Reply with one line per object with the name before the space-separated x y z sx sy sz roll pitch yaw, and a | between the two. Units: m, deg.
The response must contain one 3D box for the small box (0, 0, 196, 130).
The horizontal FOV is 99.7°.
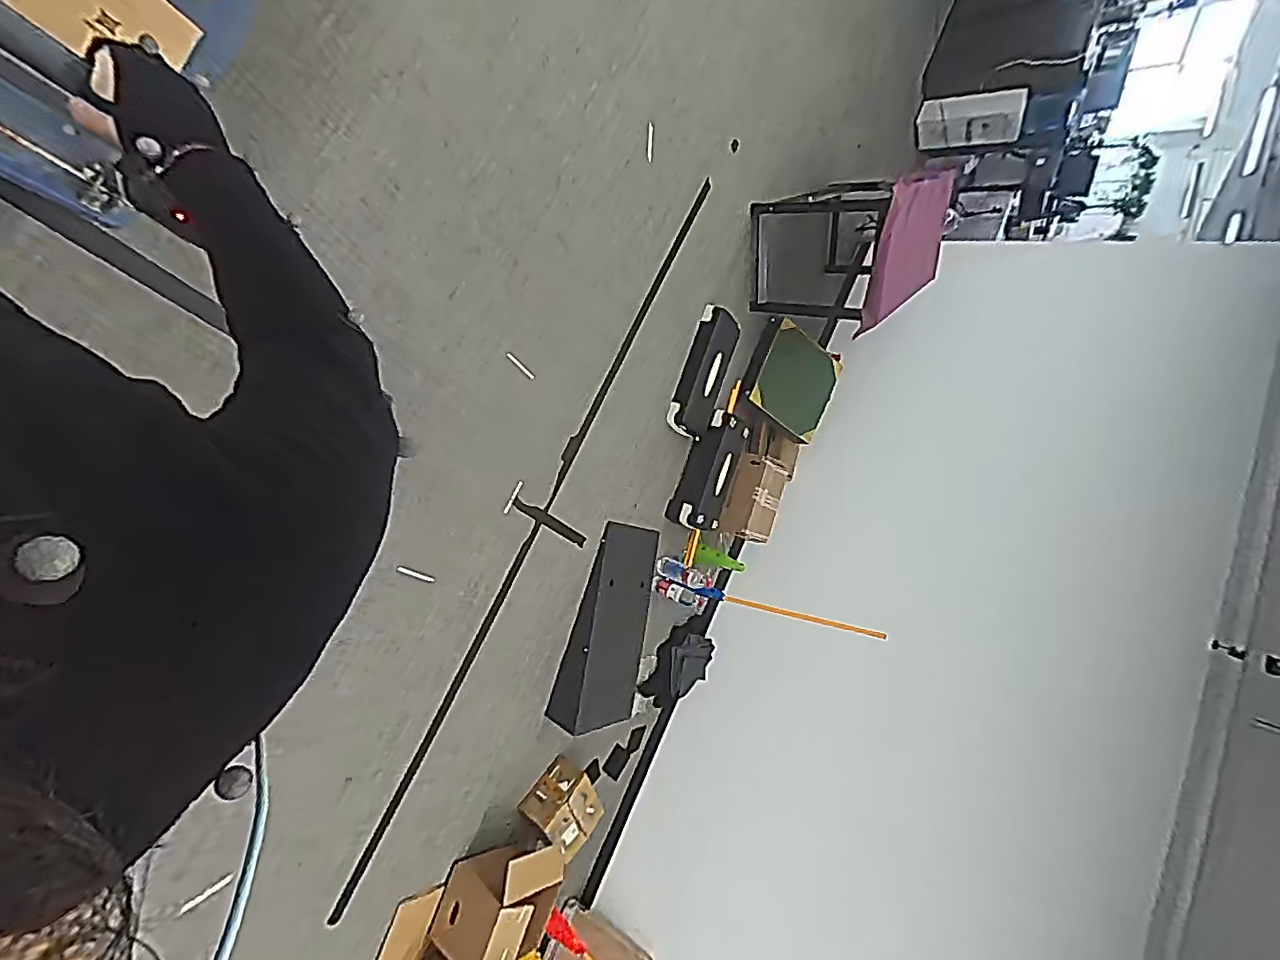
small box | -0.818 -0.659 0.802 0.168 0.176 0.179 33 76 -56
